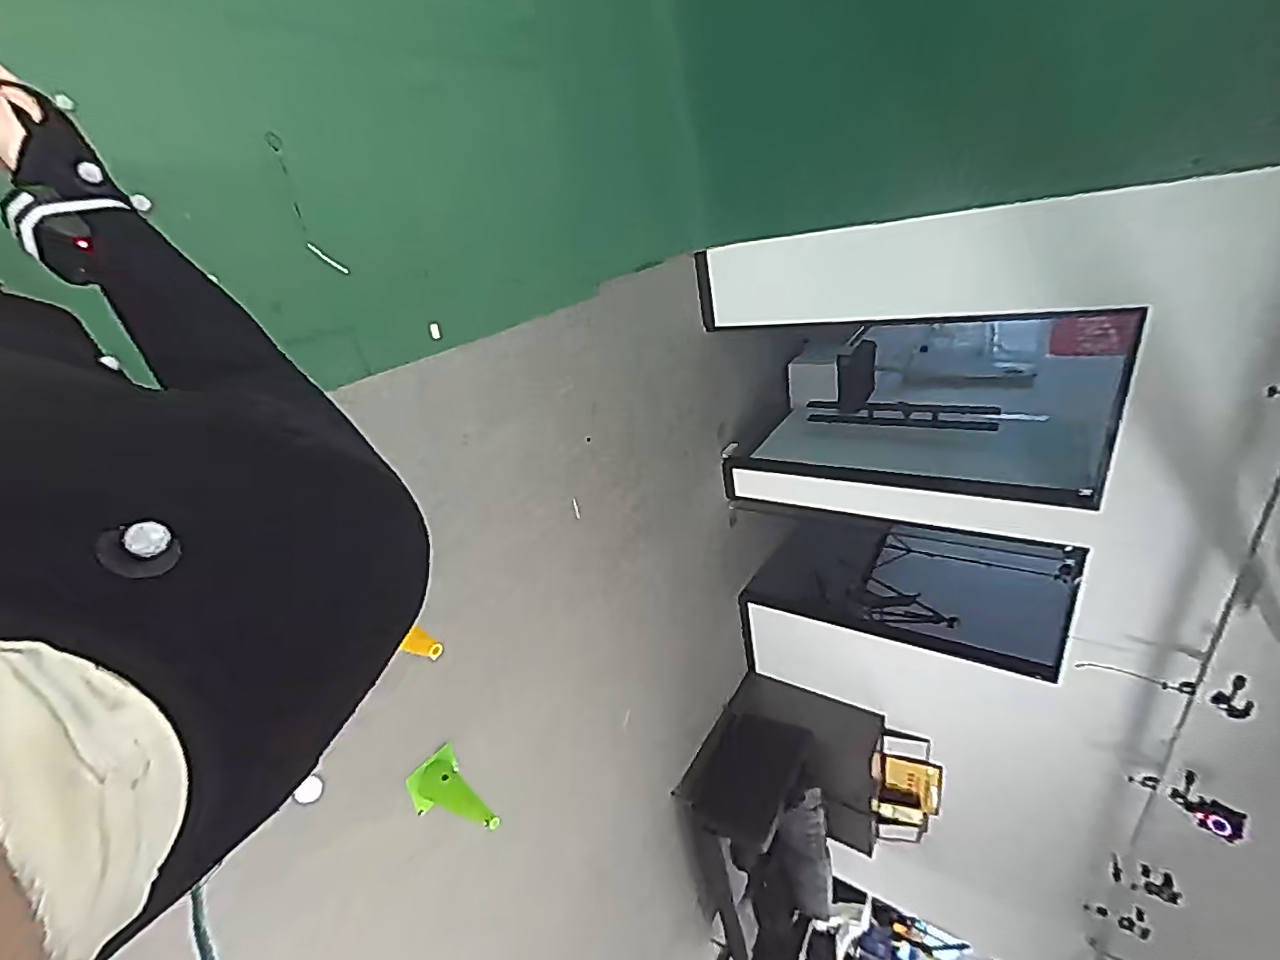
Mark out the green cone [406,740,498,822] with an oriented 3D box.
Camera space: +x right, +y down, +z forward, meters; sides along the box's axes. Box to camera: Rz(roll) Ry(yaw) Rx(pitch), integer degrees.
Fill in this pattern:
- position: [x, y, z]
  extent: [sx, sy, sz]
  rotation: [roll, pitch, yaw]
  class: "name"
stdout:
- position: [-0.649, 1.152, 1.980]
  extent: [0.200, 0.368, 0.202]
  rotation: [-33, 122, -48]
  class: "green cone"
